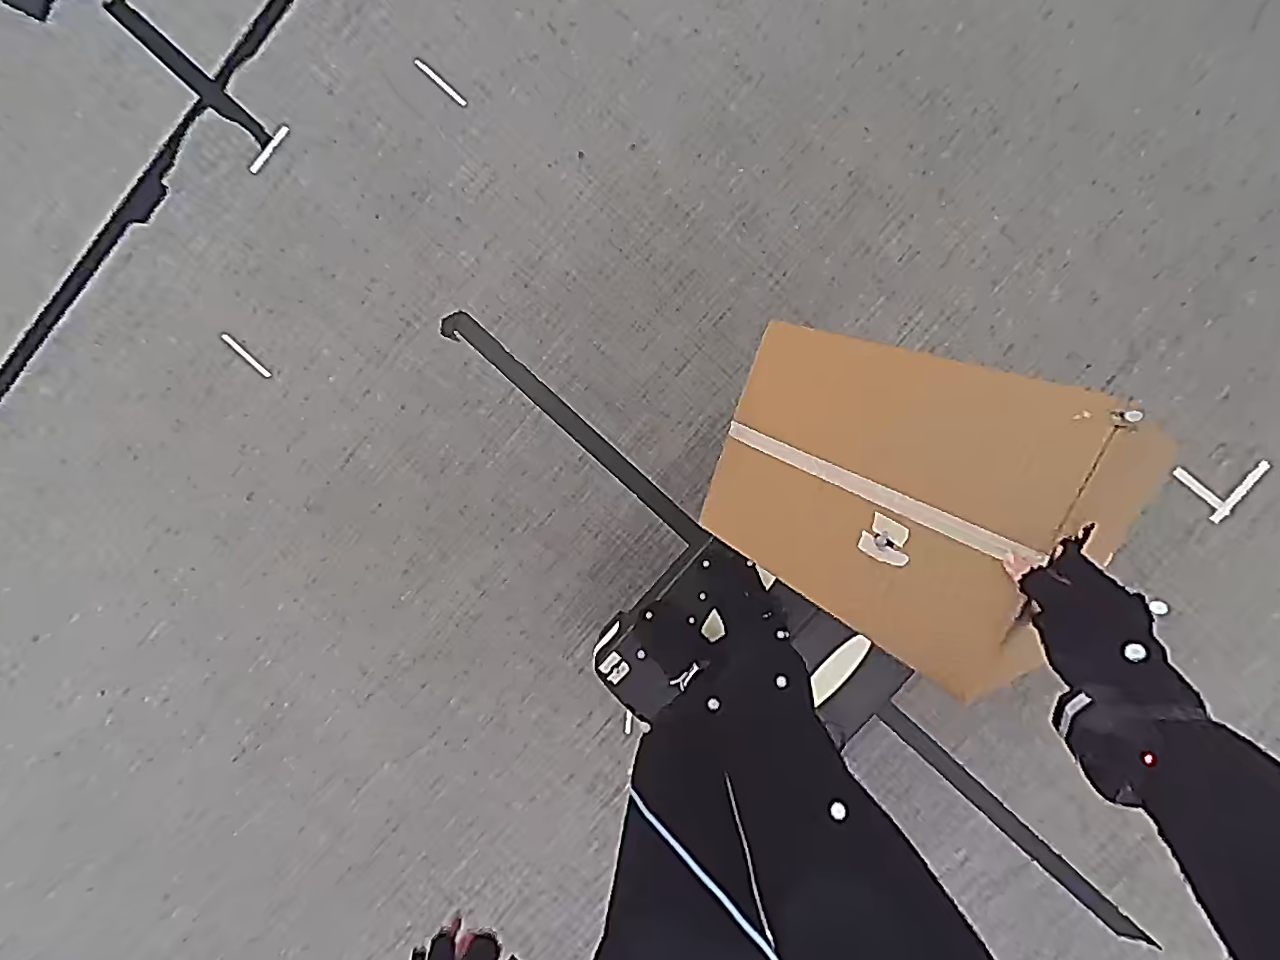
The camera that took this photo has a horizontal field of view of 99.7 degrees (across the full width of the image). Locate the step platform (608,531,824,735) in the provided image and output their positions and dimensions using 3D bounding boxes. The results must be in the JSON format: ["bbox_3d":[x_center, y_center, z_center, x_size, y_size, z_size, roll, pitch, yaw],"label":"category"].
[{"bbox_3d":[0.234,0.217,1.201,0.286,0.204,0.684,40,93,0],"label":"step platform"}]

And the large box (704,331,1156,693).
[{"bbox_3d":[0.367,0.014,0.743,0.320,0.408,0.320,4,110,-42],"label":"large box"}]
